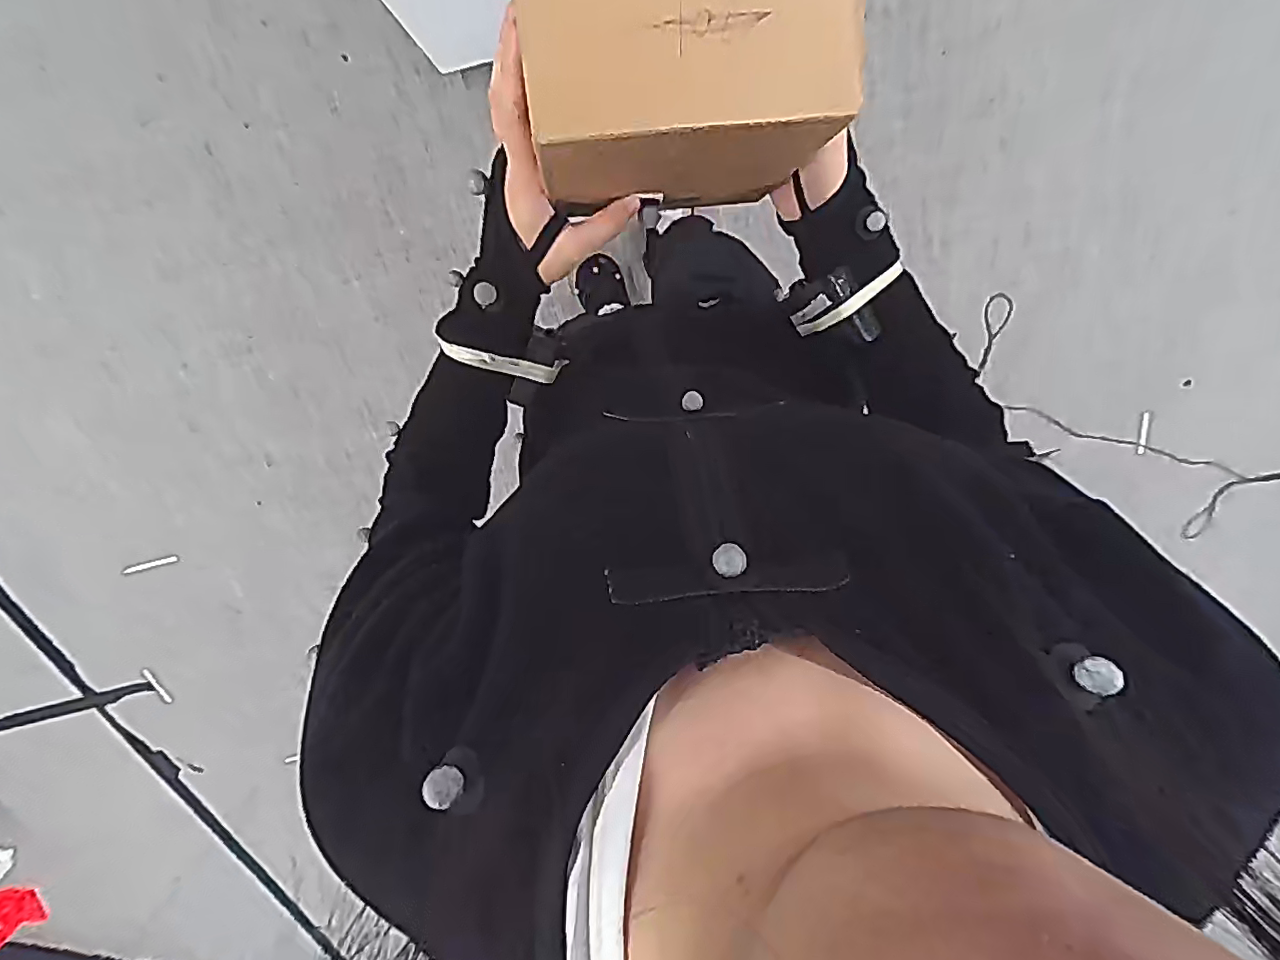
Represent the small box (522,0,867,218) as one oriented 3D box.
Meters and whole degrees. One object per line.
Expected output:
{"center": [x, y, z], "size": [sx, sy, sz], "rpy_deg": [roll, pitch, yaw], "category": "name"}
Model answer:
{"center": [0.015, -0.275, 0.321], "size": [0.168, 0.176, 0.179], "rpy_deg": [-8, 104, -4], "category": "small box"}
